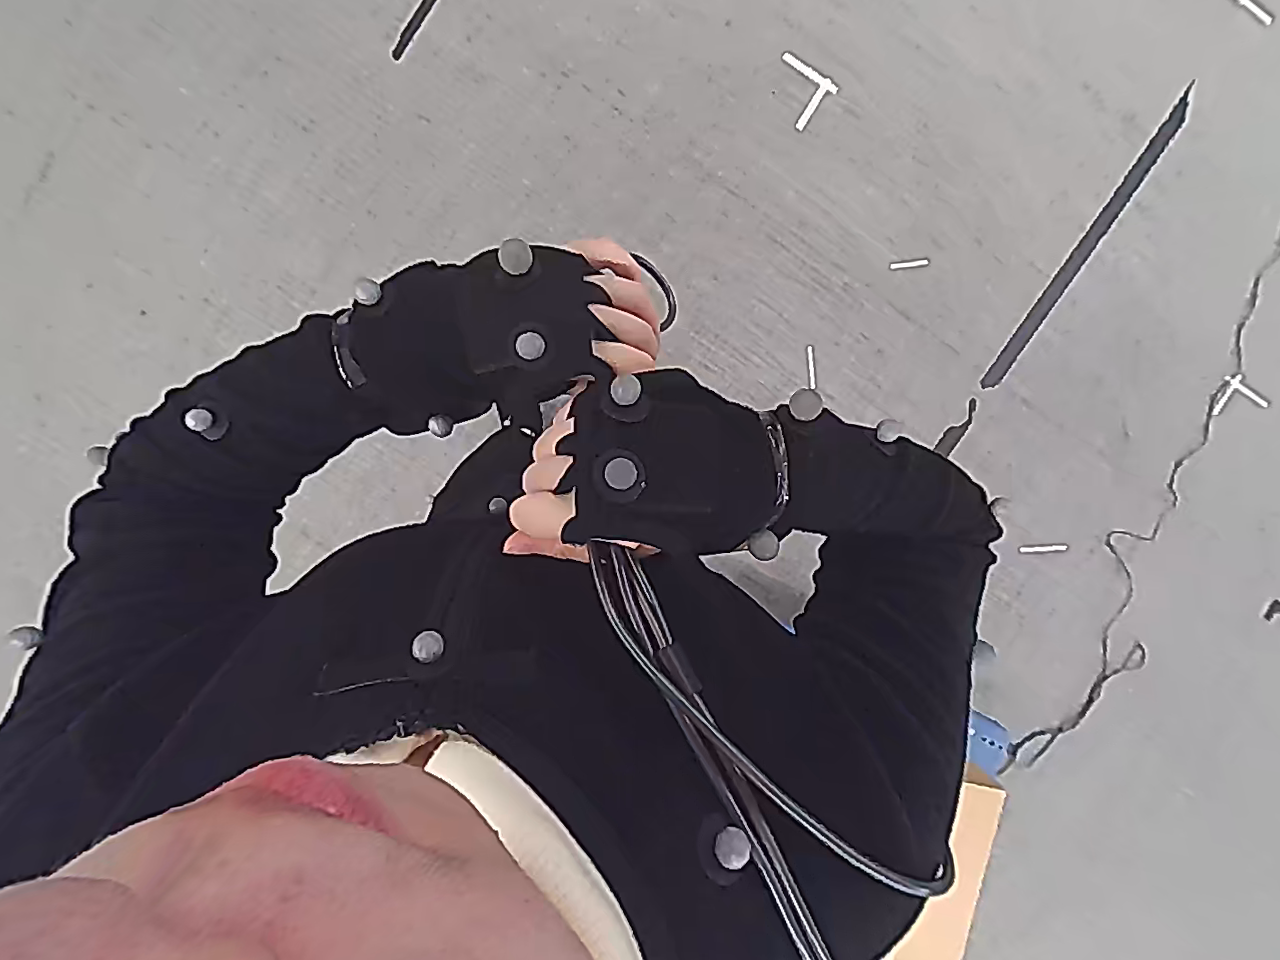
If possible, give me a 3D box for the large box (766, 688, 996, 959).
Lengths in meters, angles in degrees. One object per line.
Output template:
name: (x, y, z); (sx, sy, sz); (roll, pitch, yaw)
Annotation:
large box: (0.516, 0.748, 1.227); (0.320, 0.320, 0.408); (14, 93, -2)
